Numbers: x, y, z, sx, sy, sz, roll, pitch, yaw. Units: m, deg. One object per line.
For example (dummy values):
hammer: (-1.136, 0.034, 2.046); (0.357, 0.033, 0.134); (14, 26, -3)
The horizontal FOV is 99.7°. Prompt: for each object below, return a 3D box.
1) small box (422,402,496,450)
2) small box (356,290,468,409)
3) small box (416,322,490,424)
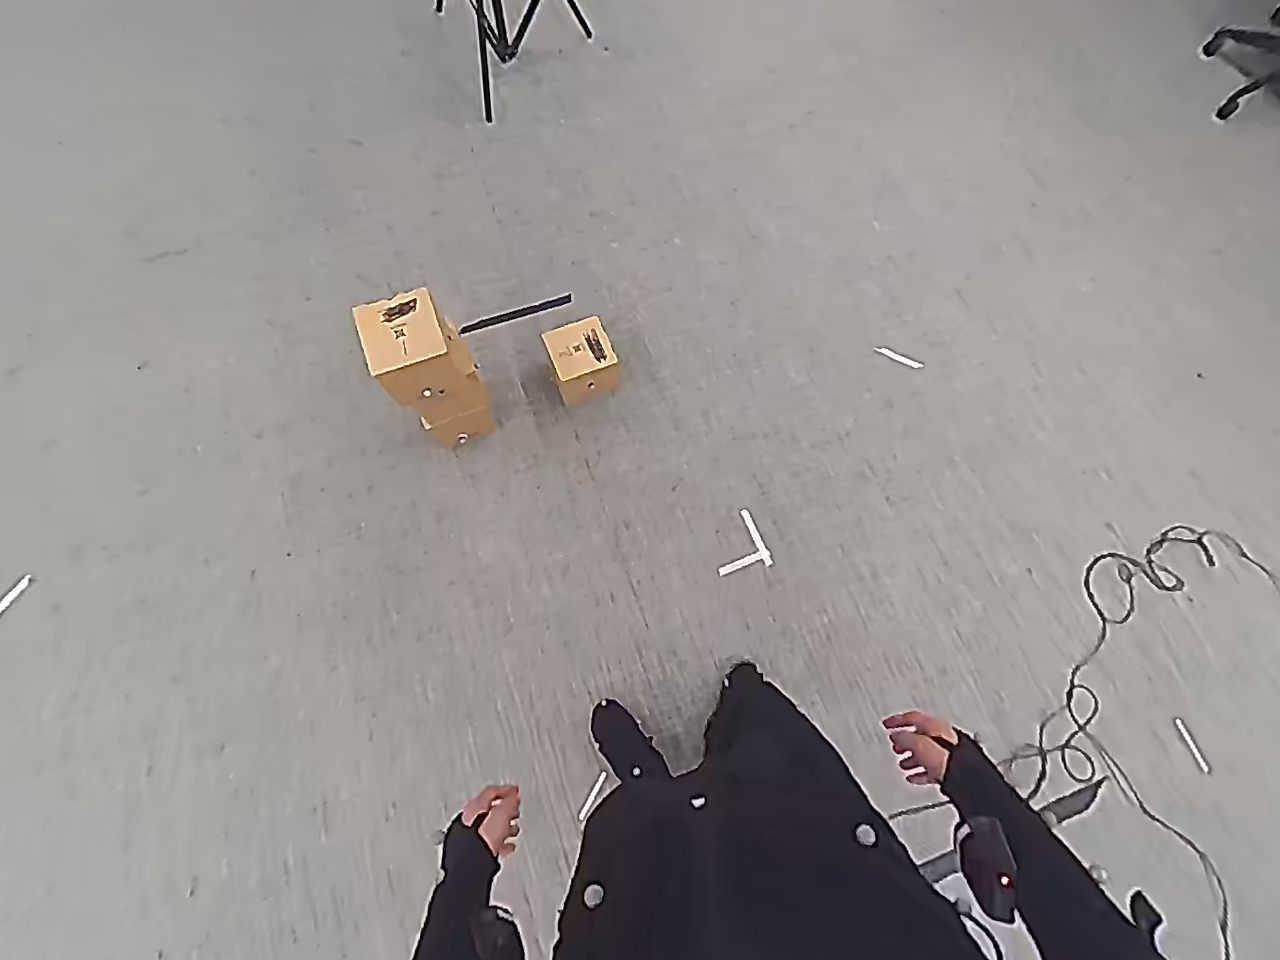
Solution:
small box: (-0.530, -0.212, 1.545); (0.168, 0.176, 0.179); (-23, 76, -9)
small box: (-0.510, -0.289, 1.226); (0.168, 0.176, 0.179); (-20, 76, -7)
small box: (-0.511, -0.268, 1.391); (0.179, 0.176, 0.168); (-24, 75, -9)
